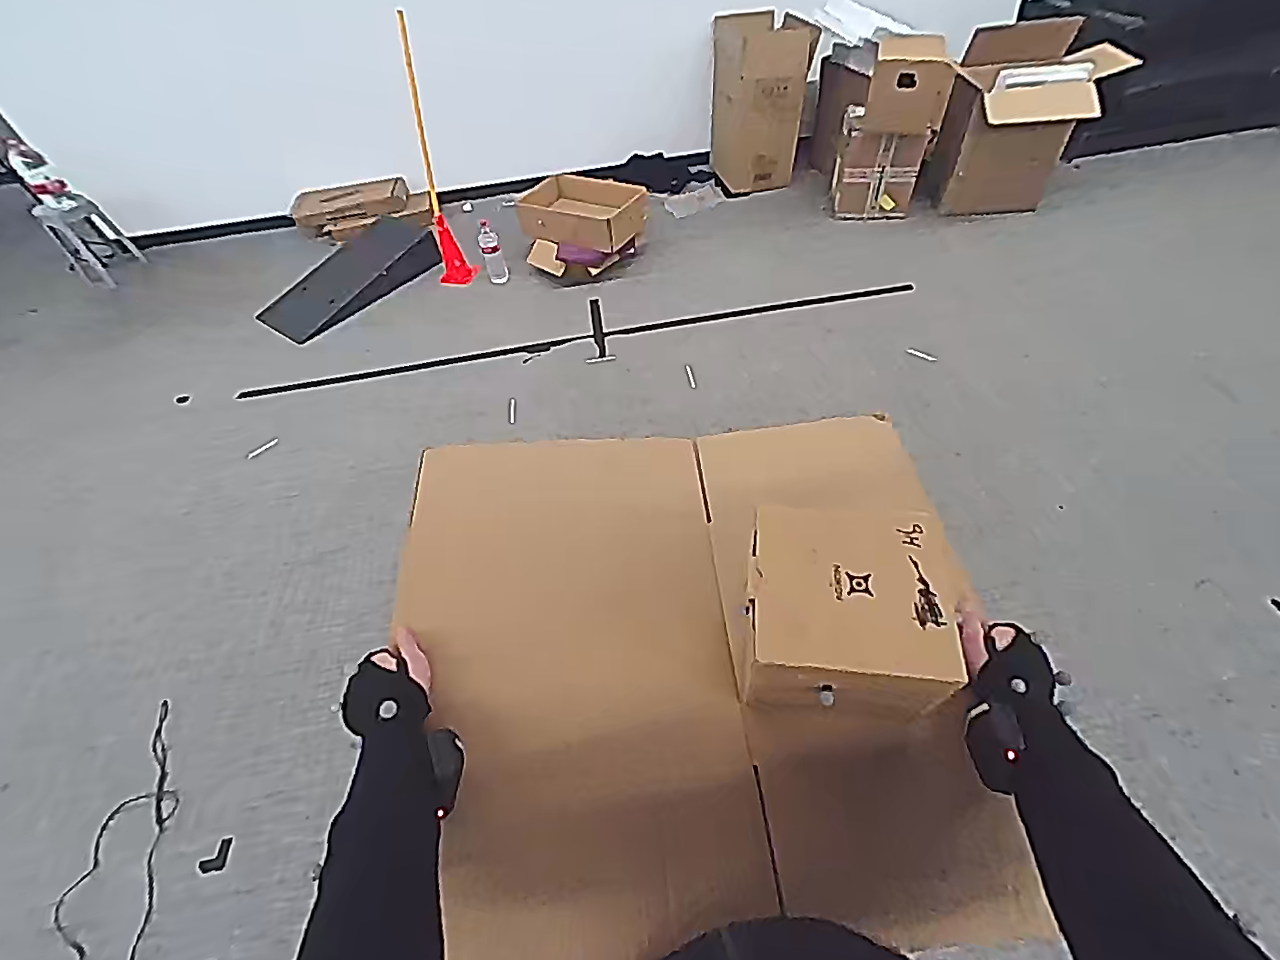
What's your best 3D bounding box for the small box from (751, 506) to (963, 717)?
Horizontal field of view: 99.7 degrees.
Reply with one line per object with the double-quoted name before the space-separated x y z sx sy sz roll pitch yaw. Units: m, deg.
"small box" 0.209 0.143 0.577 0.179 0.176 0.168 2 56 11
